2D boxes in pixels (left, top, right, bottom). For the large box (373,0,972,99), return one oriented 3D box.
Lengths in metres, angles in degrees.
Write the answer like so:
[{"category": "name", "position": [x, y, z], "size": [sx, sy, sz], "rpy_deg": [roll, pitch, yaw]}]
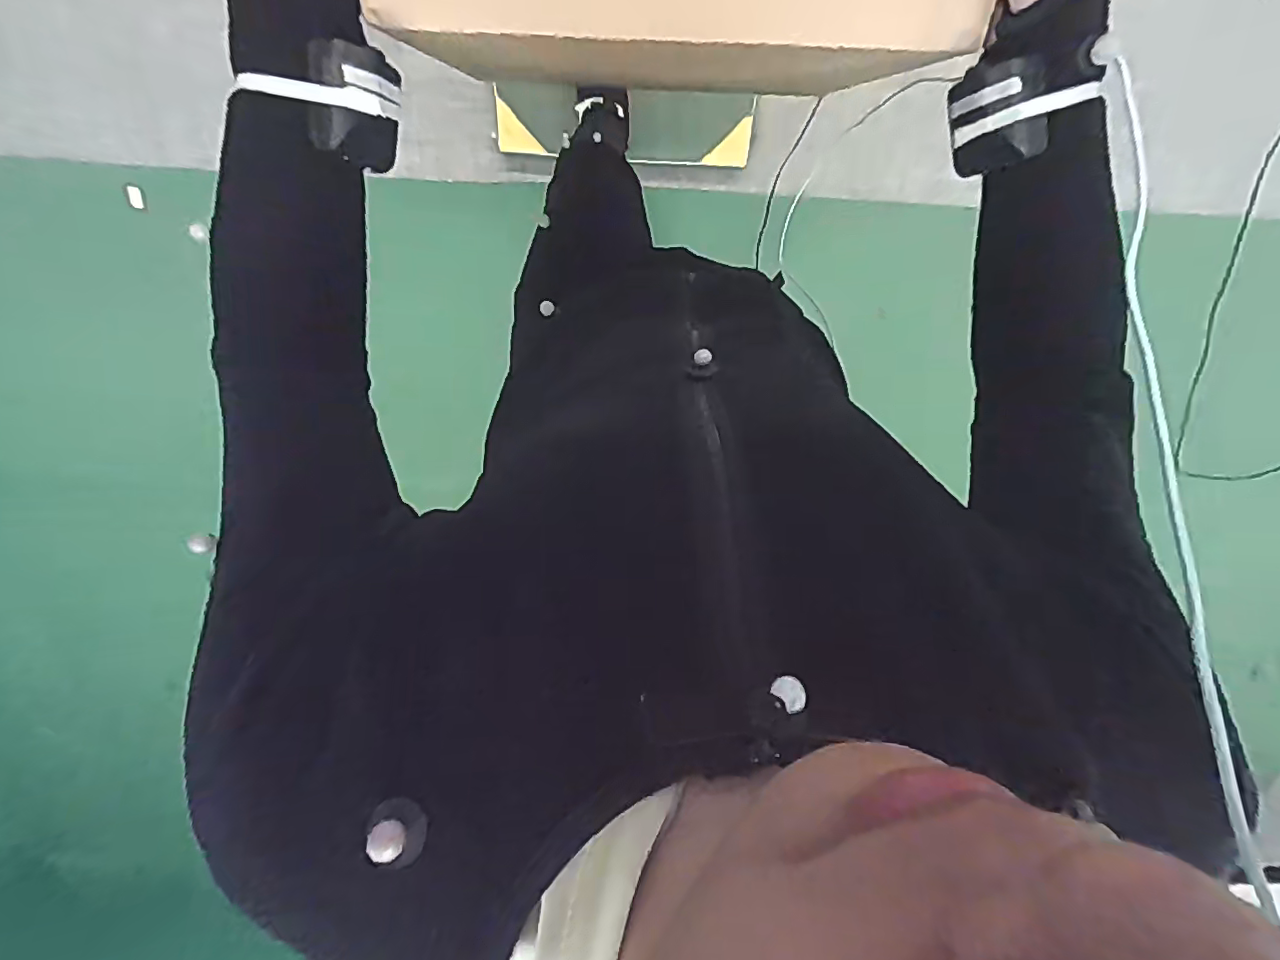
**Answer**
[{"category": "large box", "position": [0.017, -0.499, 0.418], "size": [0.408, 0.320, 0.320], "rpy_deg": [0, 121, -3]}]
